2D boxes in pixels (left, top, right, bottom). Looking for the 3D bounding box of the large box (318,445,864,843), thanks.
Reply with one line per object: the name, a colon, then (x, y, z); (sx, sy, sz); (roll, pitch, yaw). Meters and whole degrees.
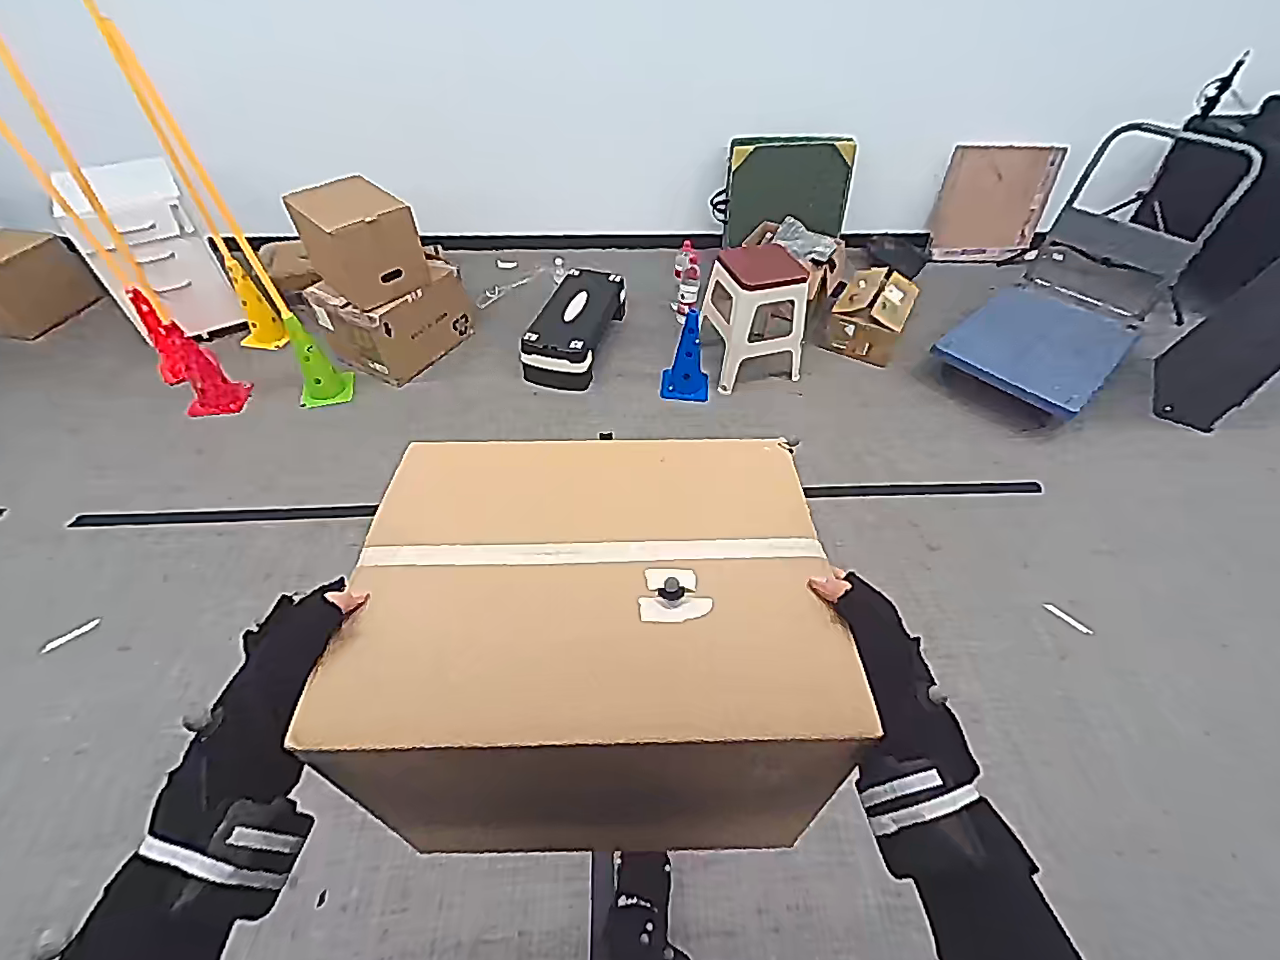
large box: (-0.039, 0.176, 0.595); (0.408, 0.320, 0.320); (0, 44, -1)
